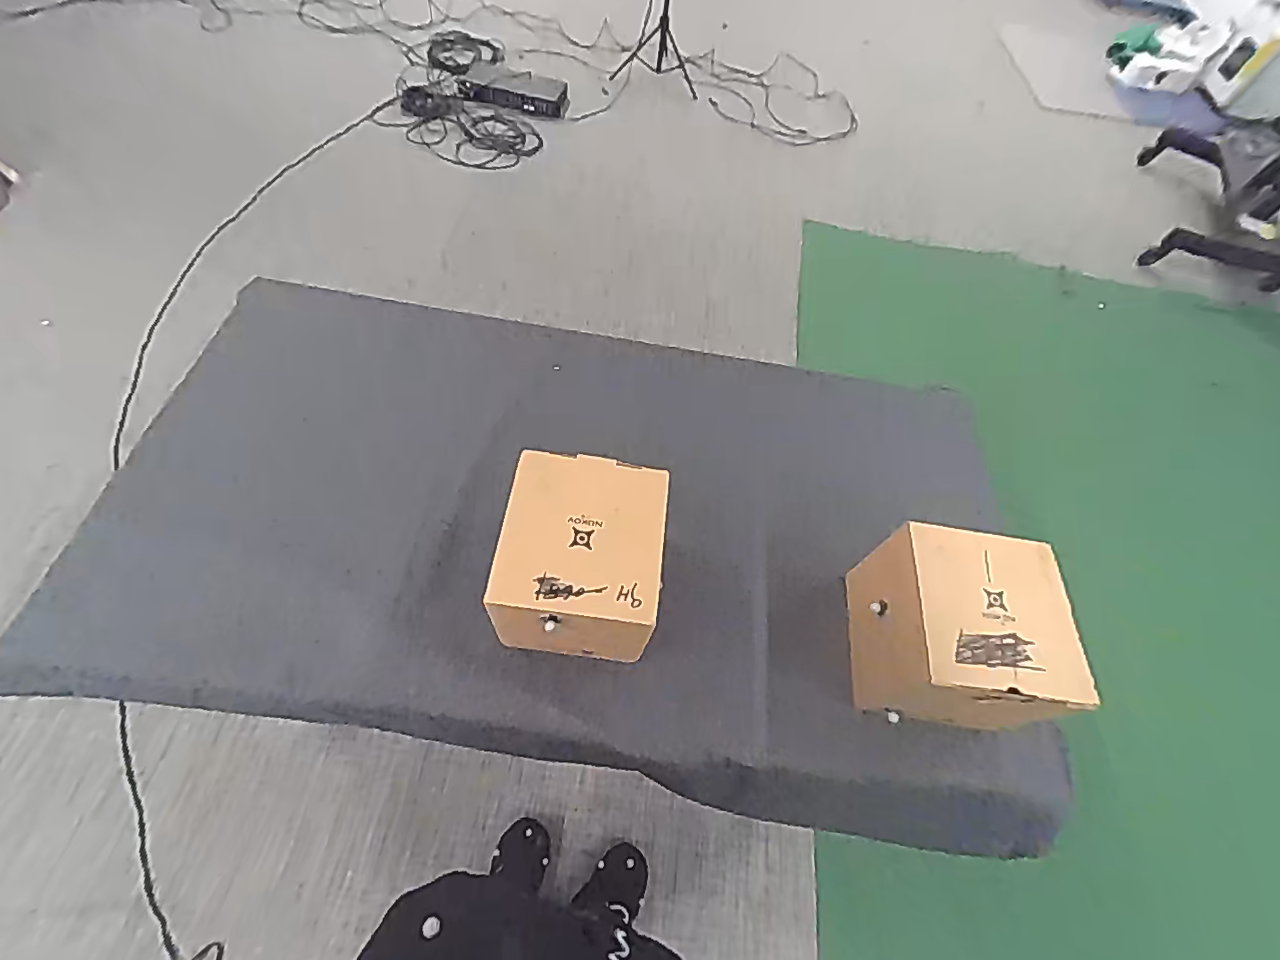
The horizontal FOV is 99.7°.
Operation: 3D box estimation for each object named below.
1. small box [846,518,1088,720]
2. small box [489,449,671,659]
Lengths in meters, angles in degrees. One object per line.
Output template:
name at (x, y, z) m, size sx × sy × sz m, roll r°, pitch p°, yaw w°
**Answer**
small box at (0.356, 0.169, 0.630) m, size 0.168 × 0.176 × 0.179 m, roll 9°, pitch 58°, yaw -1°
small box at (-0.064, 0.091, 0.626) m, size 0.168 × 0.176 × 0.179 m, roll 8°, pitch 59°, yaw -2°
